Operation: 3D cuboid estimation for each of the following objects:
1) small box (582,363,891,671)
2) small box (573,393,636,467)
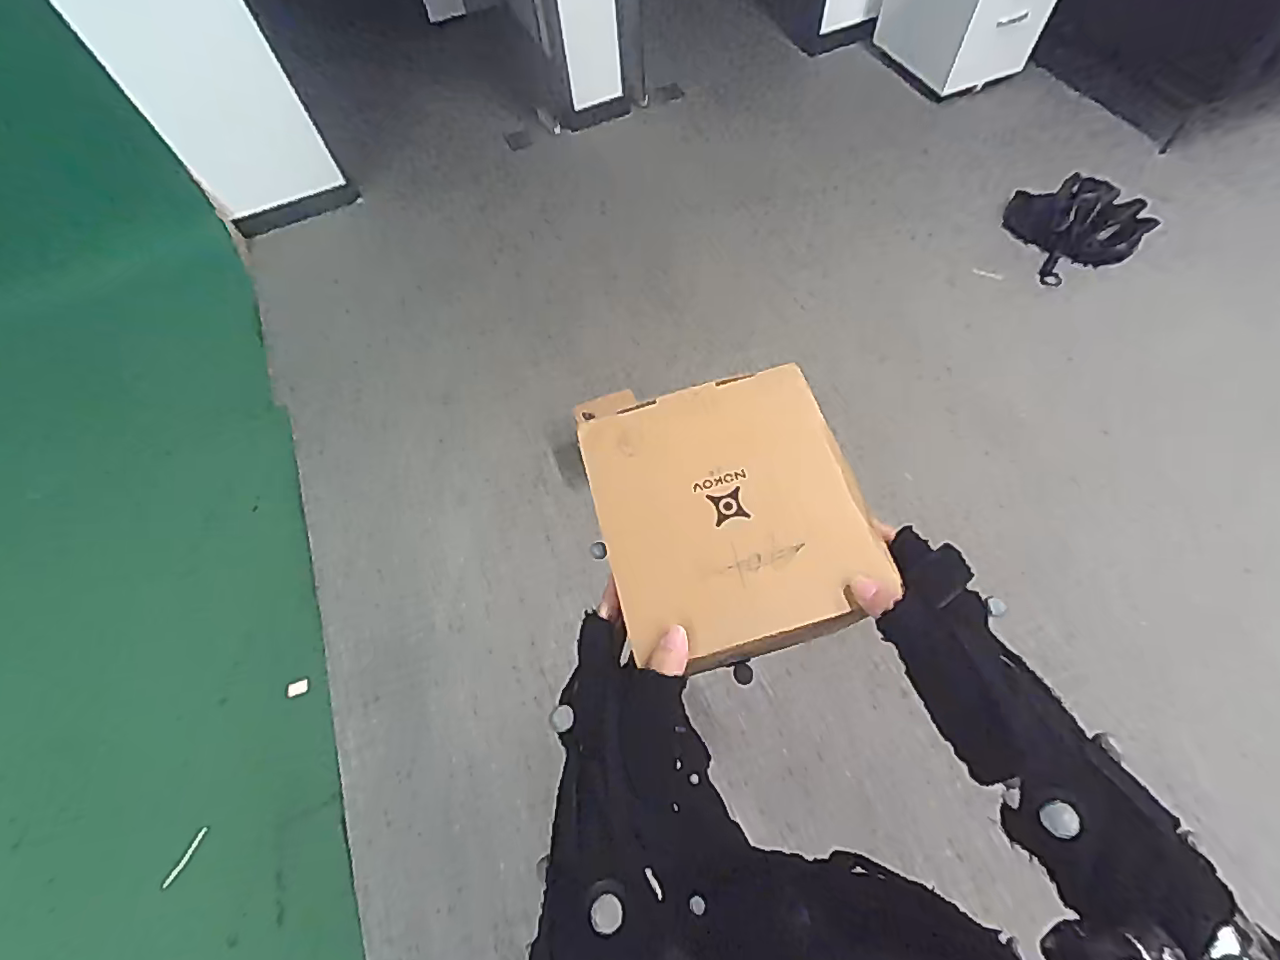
[{"bbox_3d":[0.061,0.041,0.433,0.168,0.176,0.179,-16,67,-1],"label":"small box"},{"bbox_3d":[-0.070,-0.110,1.523,0.179,0.176,0.168,-20,63,-7],"label":"small box"}]
